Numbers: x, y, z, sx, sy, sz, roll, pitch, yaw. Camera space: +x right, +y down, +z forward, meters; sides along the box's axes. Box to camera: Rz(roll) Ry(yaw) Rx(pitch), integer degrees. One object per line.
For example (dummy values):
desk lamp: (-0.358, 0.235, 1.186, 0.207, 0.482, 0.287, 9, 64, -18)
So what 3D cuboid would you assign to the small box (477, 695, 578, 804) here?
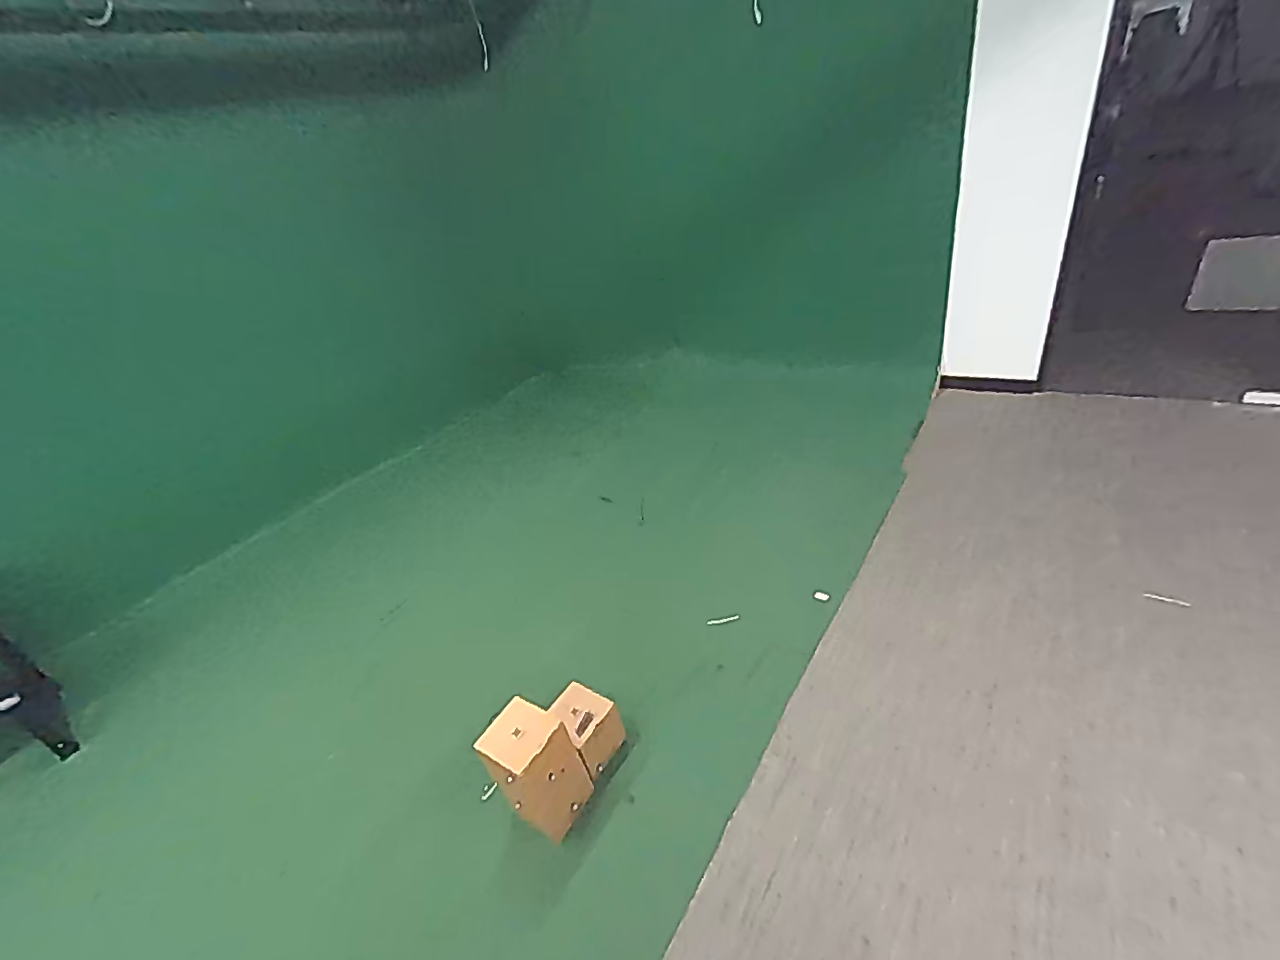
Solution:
small box: (-0.293, 0.716, 1.434, 0.179, 0.176, 0.168, 10, 39, 32)
